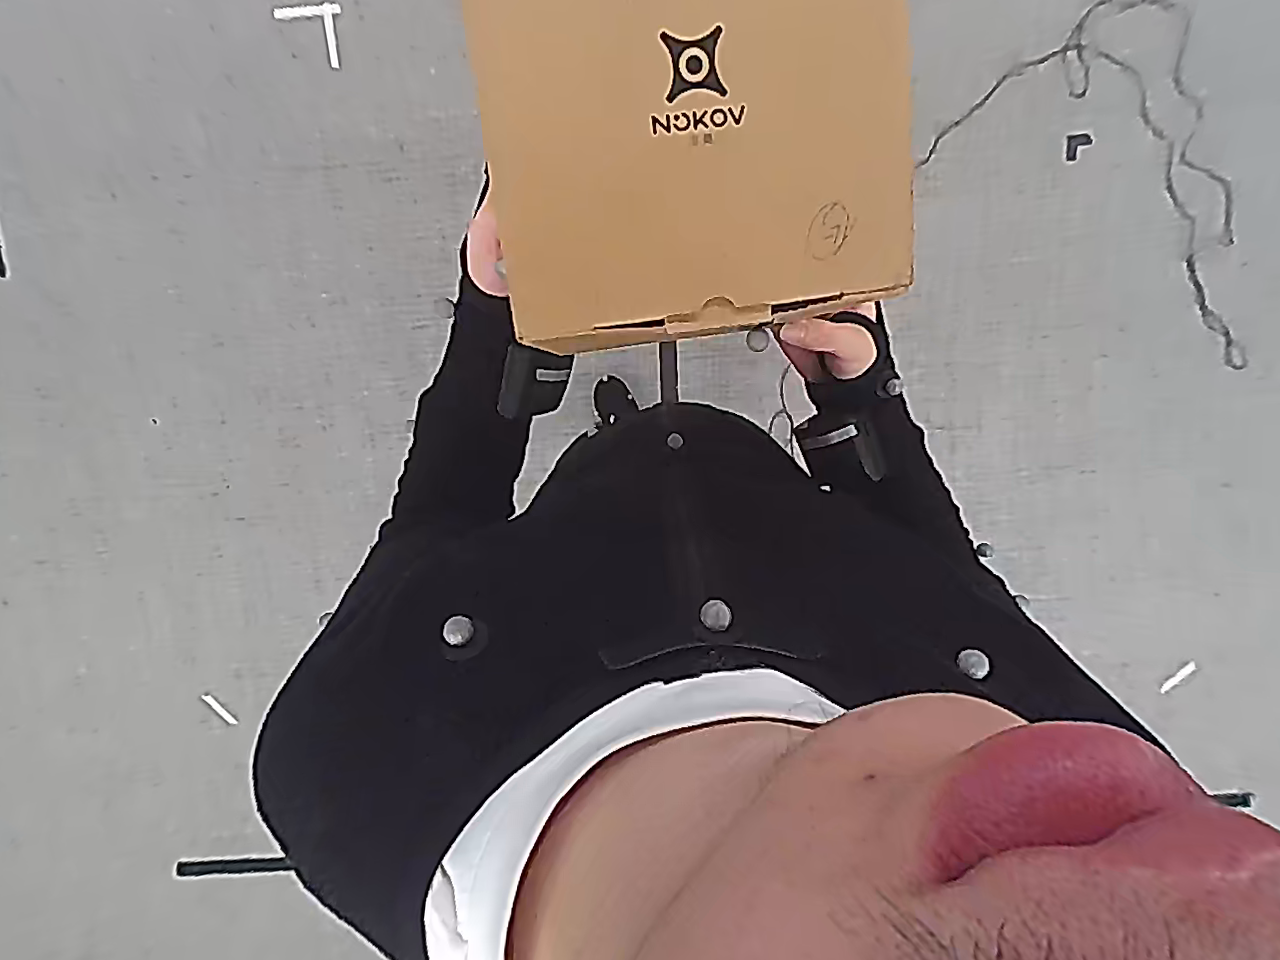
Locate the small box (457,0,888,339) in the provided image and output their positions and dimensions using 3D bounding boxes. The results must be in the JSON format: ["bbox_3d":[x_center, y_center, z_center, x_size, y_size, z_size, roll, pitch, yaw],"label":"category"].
[{"bbox_3d":[0.011,-0.175,0.292,0.168,0.176,0.179,-9,101,-2],"label":"small box"}]
